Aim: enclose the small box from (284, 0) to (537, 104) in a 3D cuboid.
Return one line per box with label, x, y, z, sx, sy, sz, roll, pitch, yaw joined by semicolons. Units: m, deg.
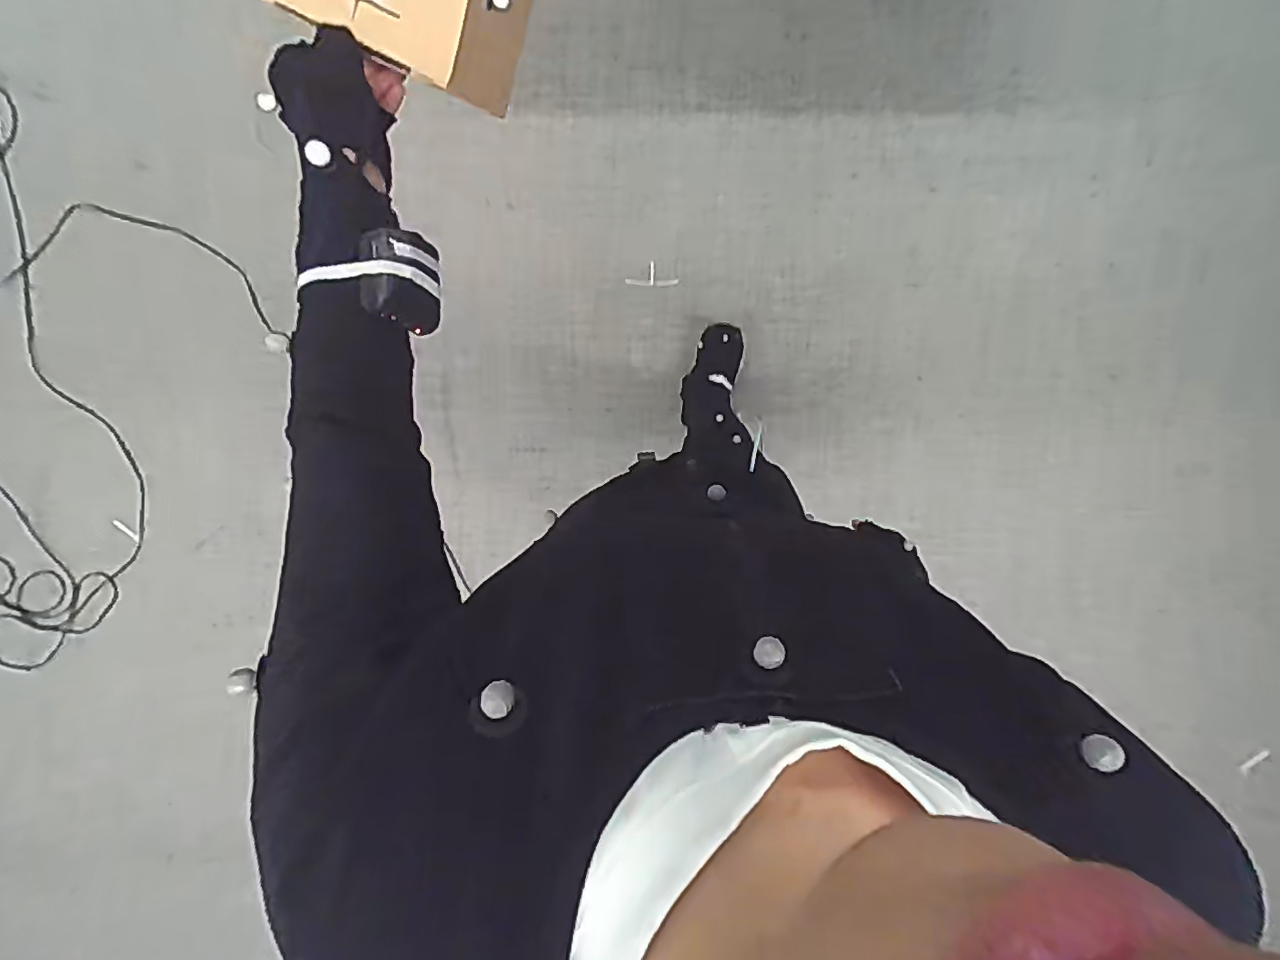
small box;-0.180;-0.445;0.442;0.168;0.176;0.179;23;116;-10
